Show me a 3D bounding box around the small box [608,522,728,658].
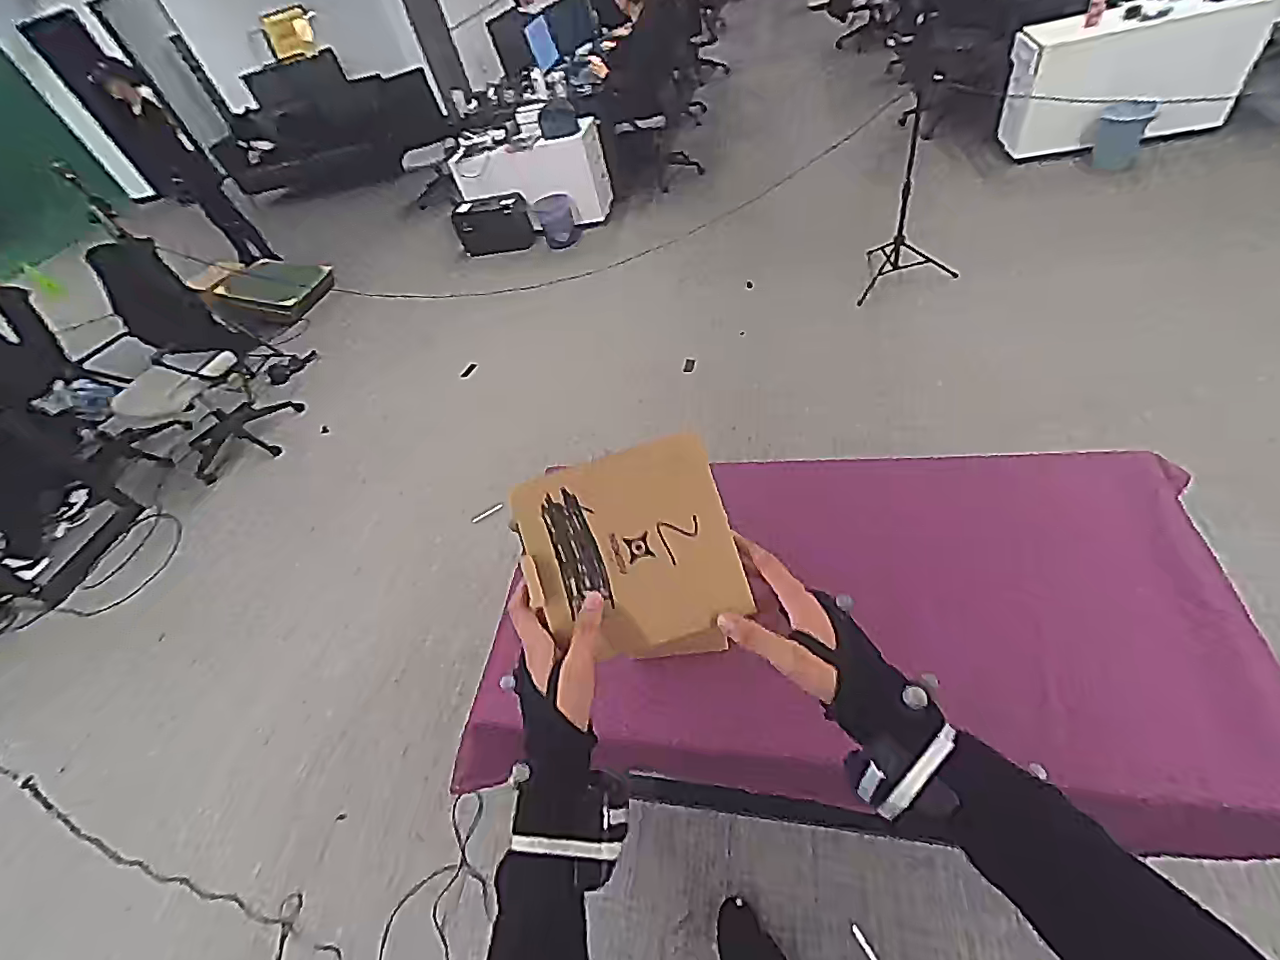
[{"bbox_3d":[0.051,0.197,0.944,0.179,0.176,0.168,-8,48,8],"label":"small box"}]

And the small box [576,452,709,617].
[{"bbox_3d":[0.008,0.086,0.830,0.168,0.176,0.179,-10,47,8],"label":"small box"}]
